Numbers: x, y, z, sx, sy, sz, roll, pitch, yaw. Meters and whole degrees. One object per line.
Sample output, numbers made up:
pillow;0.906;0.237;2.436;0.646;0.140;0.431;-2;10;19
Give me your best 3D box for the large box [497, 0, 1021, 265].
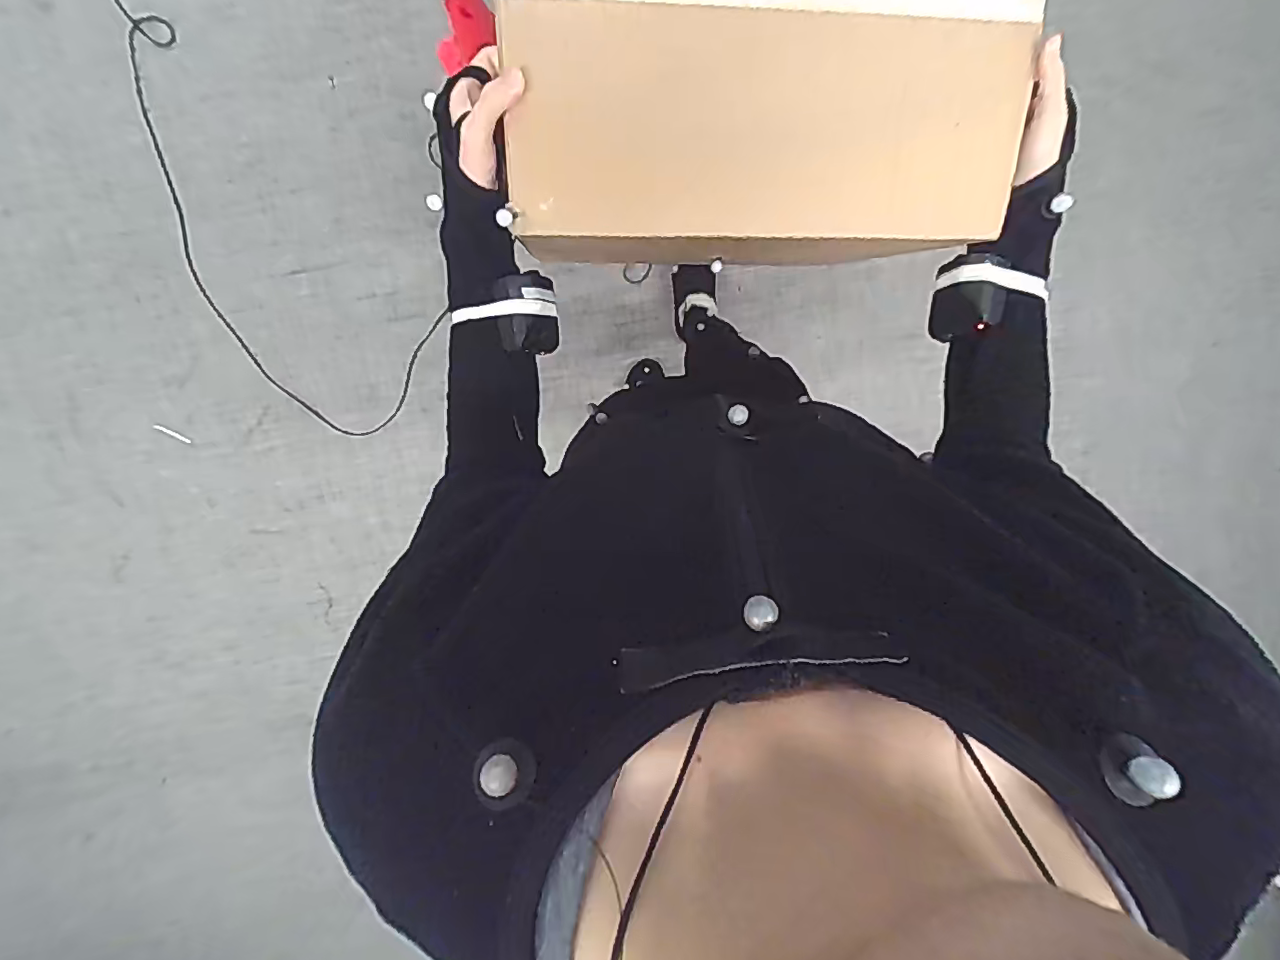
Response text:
large box;0.082;-0.390;0.544;0.408;0.320;0.320;-2;107;-5
